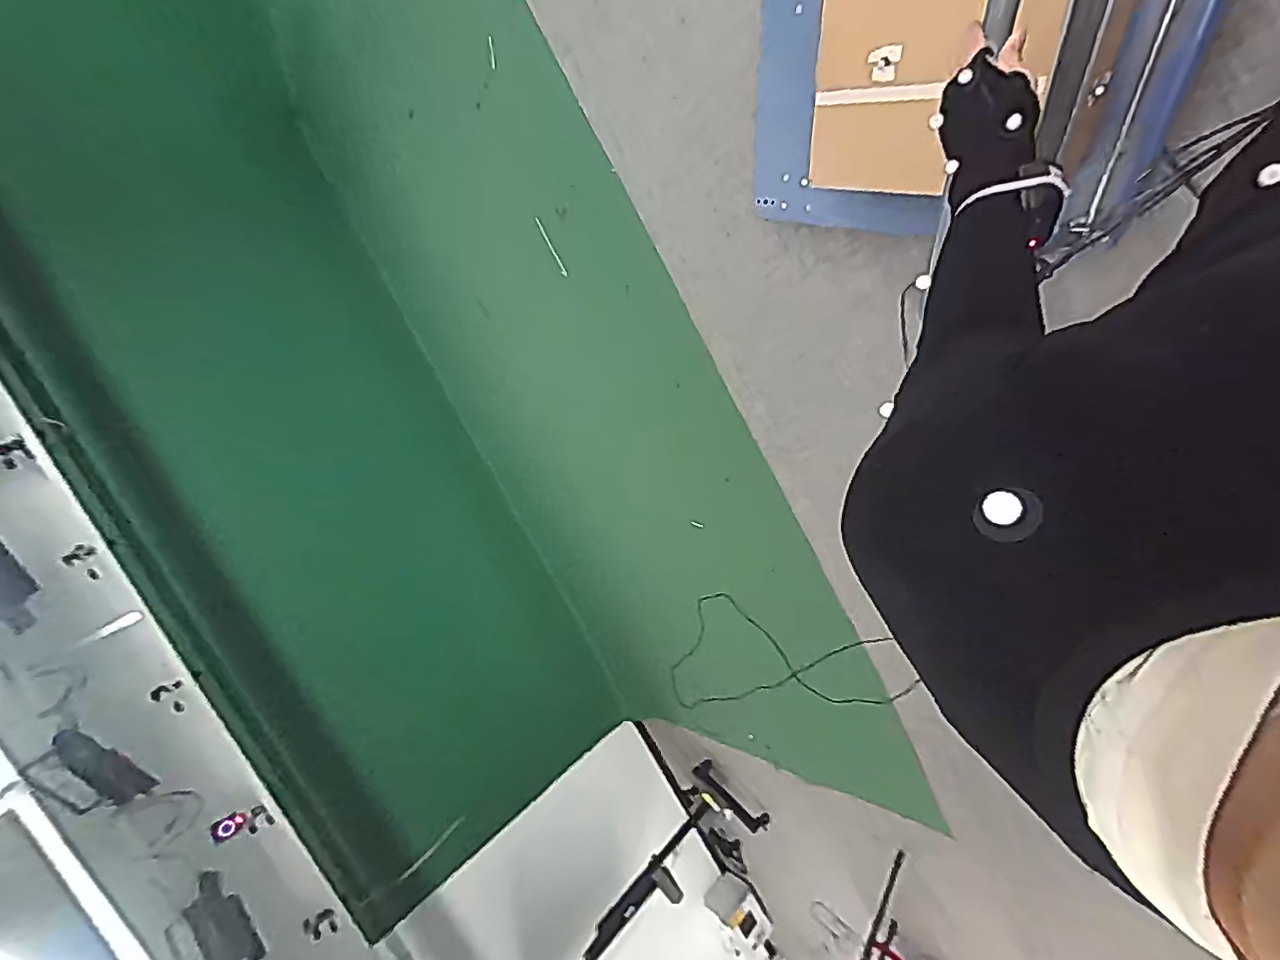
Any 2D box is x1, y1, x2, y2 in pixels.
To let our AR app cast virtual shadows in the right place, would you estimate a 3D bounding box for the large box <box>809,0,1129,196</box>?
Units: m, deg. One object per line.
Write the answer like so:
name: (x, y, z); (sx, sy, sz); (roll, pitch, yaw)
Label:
large box: (0.586, -0.735, 1.003); (0.408, 0.320, 0.320); (30, 139, 39)
